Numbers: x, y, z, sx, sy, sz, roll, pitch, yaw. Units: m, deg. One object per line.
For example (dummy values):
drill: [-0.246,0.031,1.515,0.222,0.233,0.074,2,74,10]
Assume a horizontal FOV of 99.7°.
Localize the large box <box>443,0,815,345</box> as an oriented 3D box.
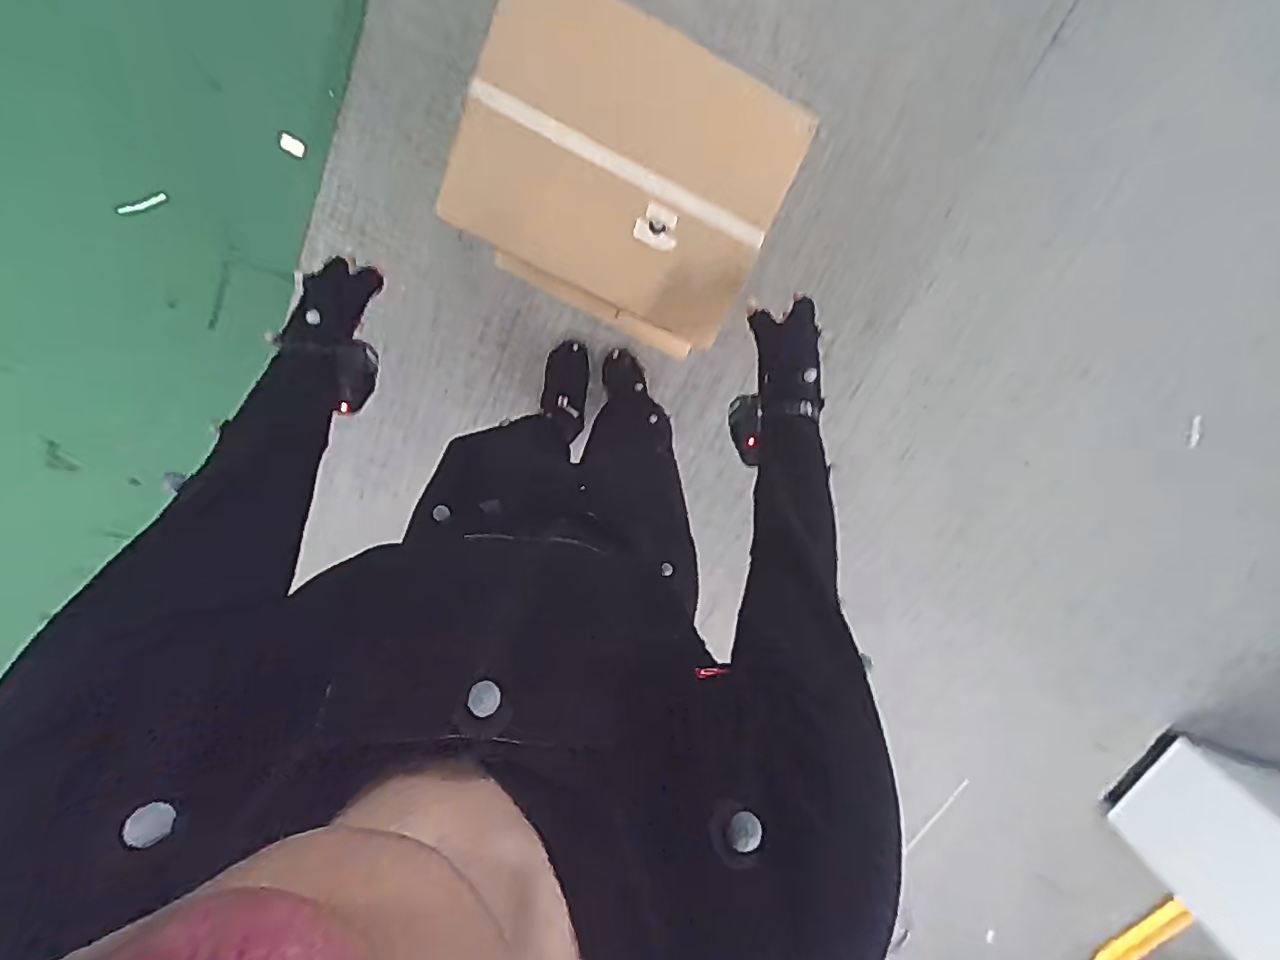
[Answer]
large box: [-0.027,-0.440,0.836,0.408,0.320,0.320,23,104,-11]
